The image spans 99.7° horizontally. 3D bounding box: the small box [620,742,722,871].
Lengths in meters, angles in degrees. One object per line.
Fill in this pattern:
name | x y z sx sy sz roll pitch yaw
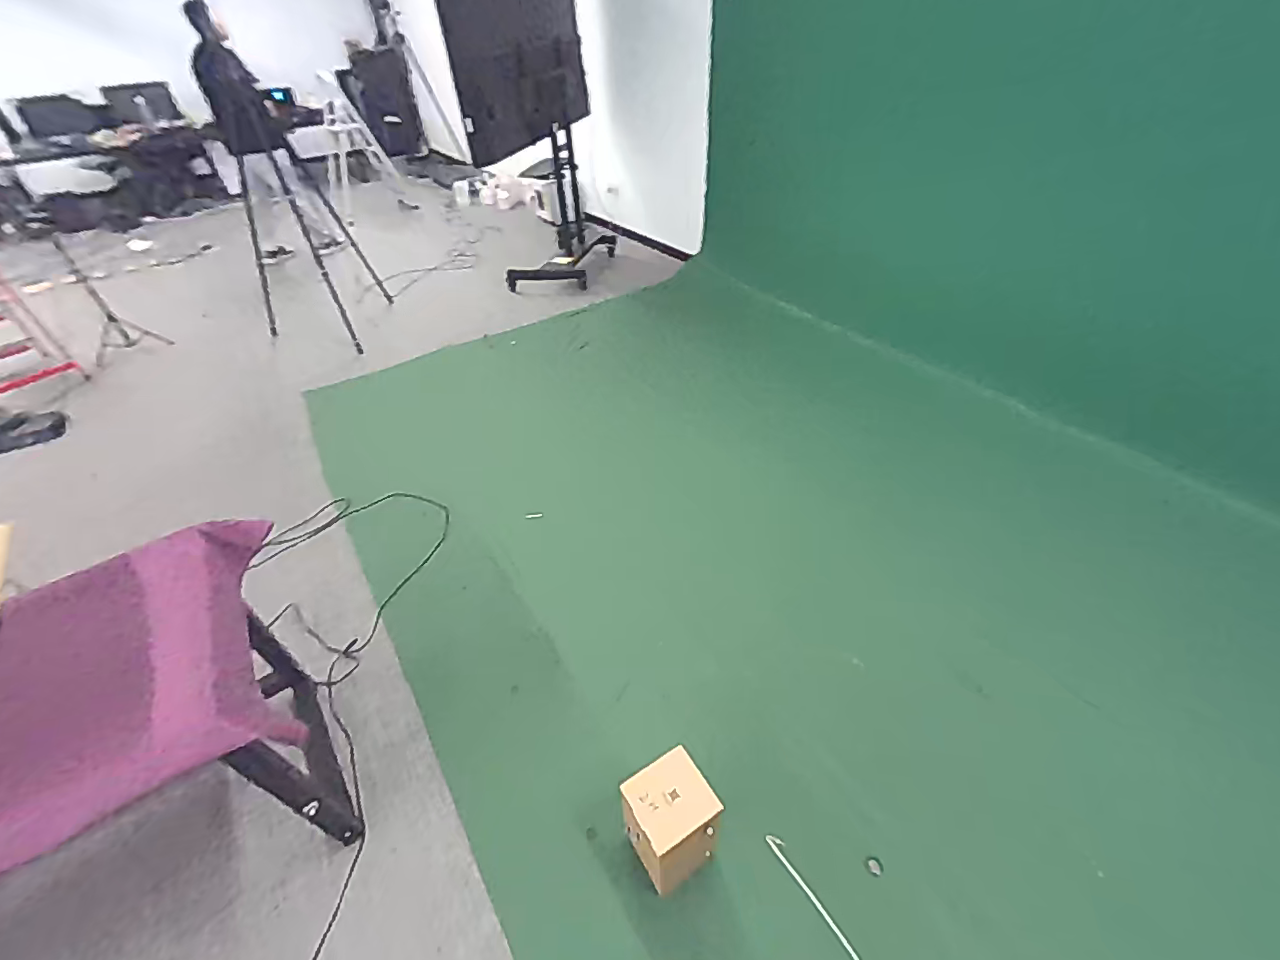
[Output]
small box | 0.068 0.755 1.253 0.179 0.176 0.168 -23 45 -22
